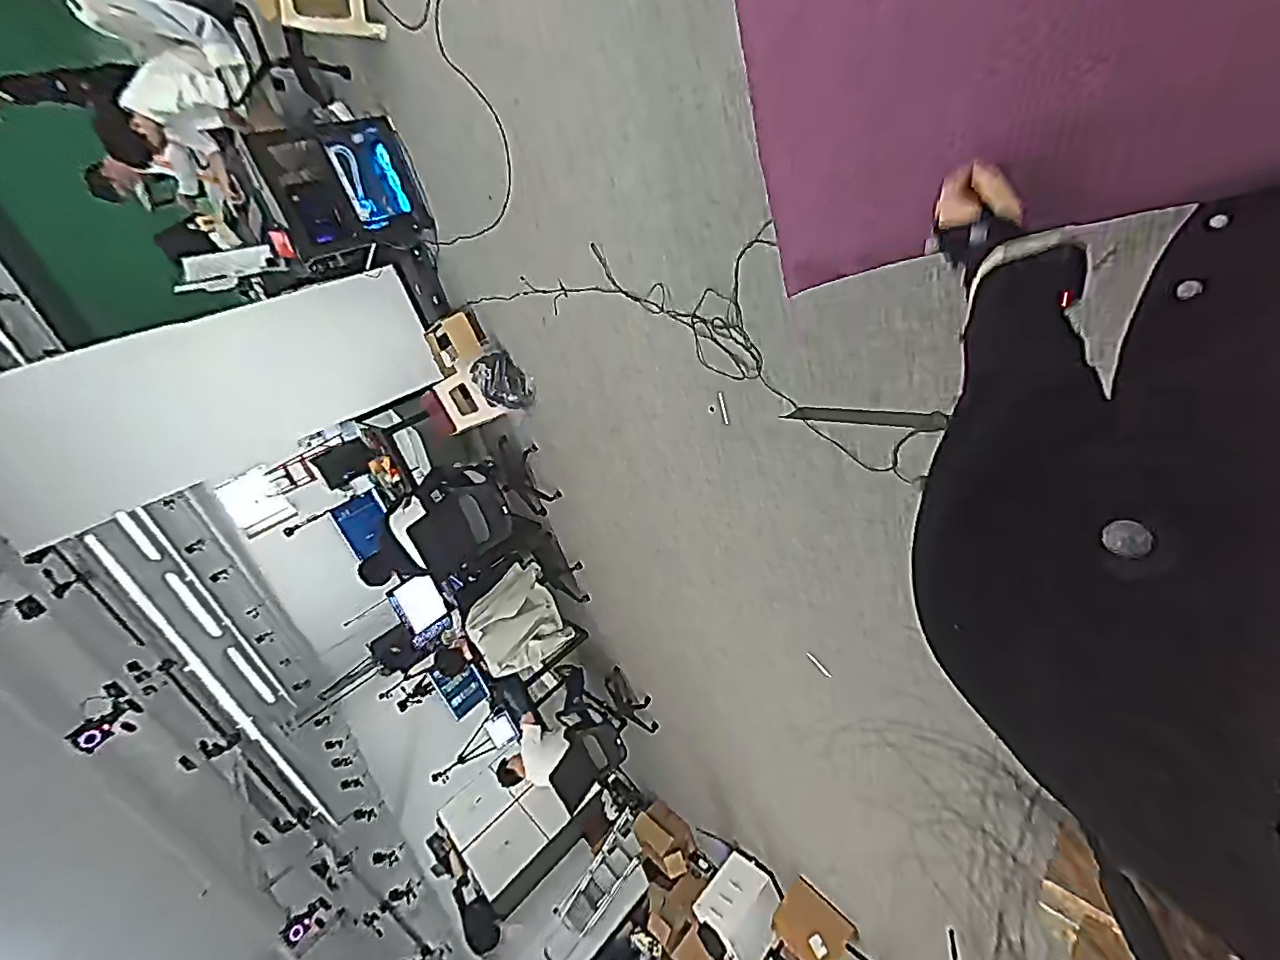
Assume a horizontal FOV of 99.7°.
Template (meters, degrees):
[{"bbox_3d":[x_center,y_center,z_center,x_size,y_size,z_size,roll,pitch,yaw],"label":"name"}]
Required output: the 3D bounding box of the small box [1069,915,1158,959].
[{"bbox_3d":[1.389,1.449,1.591,0.179,0.176,0.168,13,128,50],"label":"small box"}]
